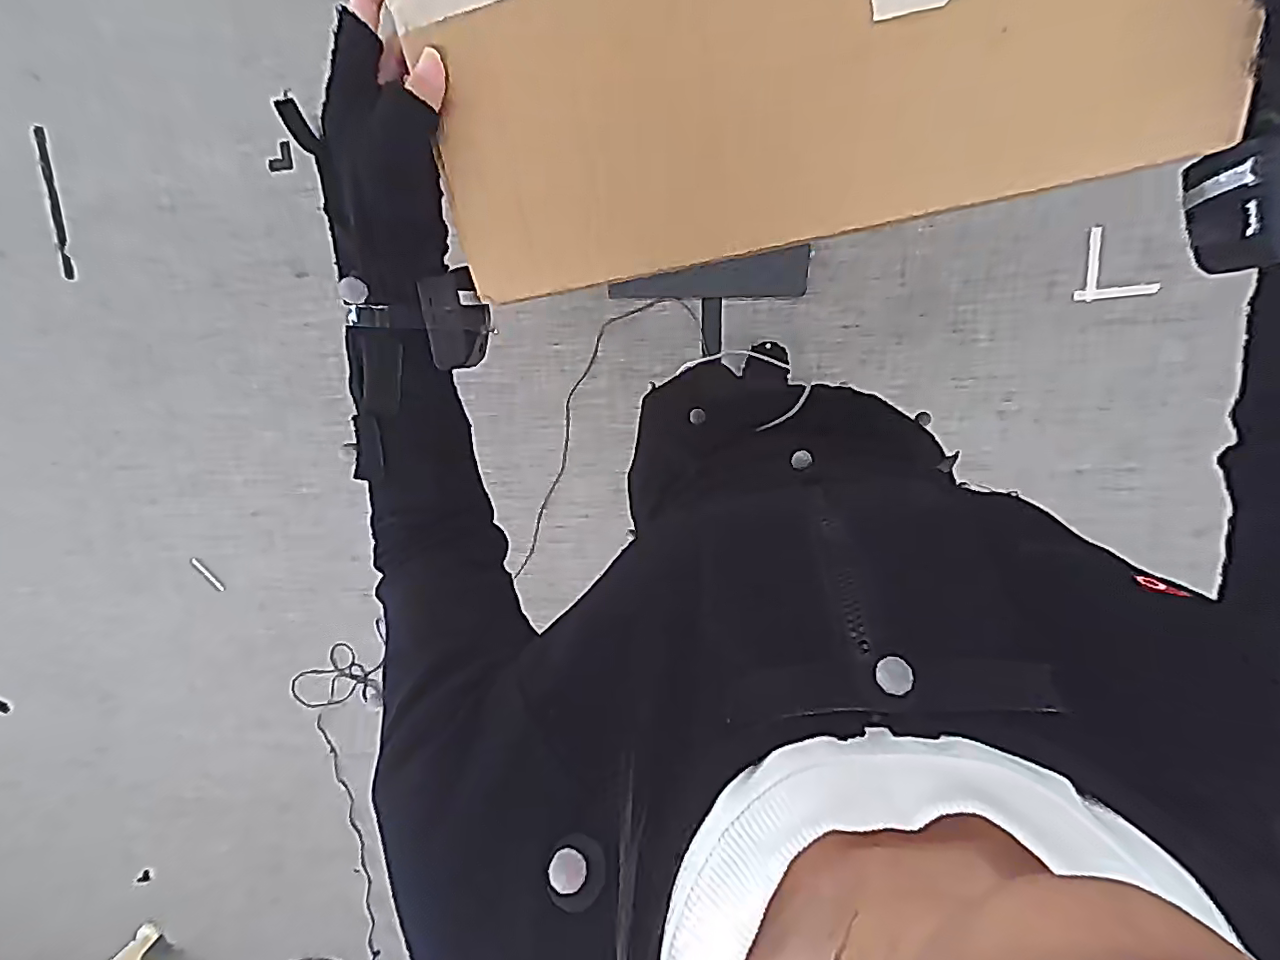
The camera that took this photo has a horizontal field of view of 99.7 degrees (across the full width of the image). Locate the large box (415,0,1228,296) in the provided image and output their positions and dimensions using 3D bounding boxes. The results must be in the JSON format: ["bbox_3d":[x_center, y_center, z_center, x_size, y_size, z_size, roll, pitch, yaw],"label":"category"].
[{"bbox_3d":[0.086,-0.345,0.399,0.408,0.320,0.320,-8,112,12],"label":"large box"}]

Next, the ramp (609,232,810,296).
[{"bbox_3d":[0.152,-0.926,1.166,0.509,0.206,0.991,0,103,7],"label":"ramp"}]
